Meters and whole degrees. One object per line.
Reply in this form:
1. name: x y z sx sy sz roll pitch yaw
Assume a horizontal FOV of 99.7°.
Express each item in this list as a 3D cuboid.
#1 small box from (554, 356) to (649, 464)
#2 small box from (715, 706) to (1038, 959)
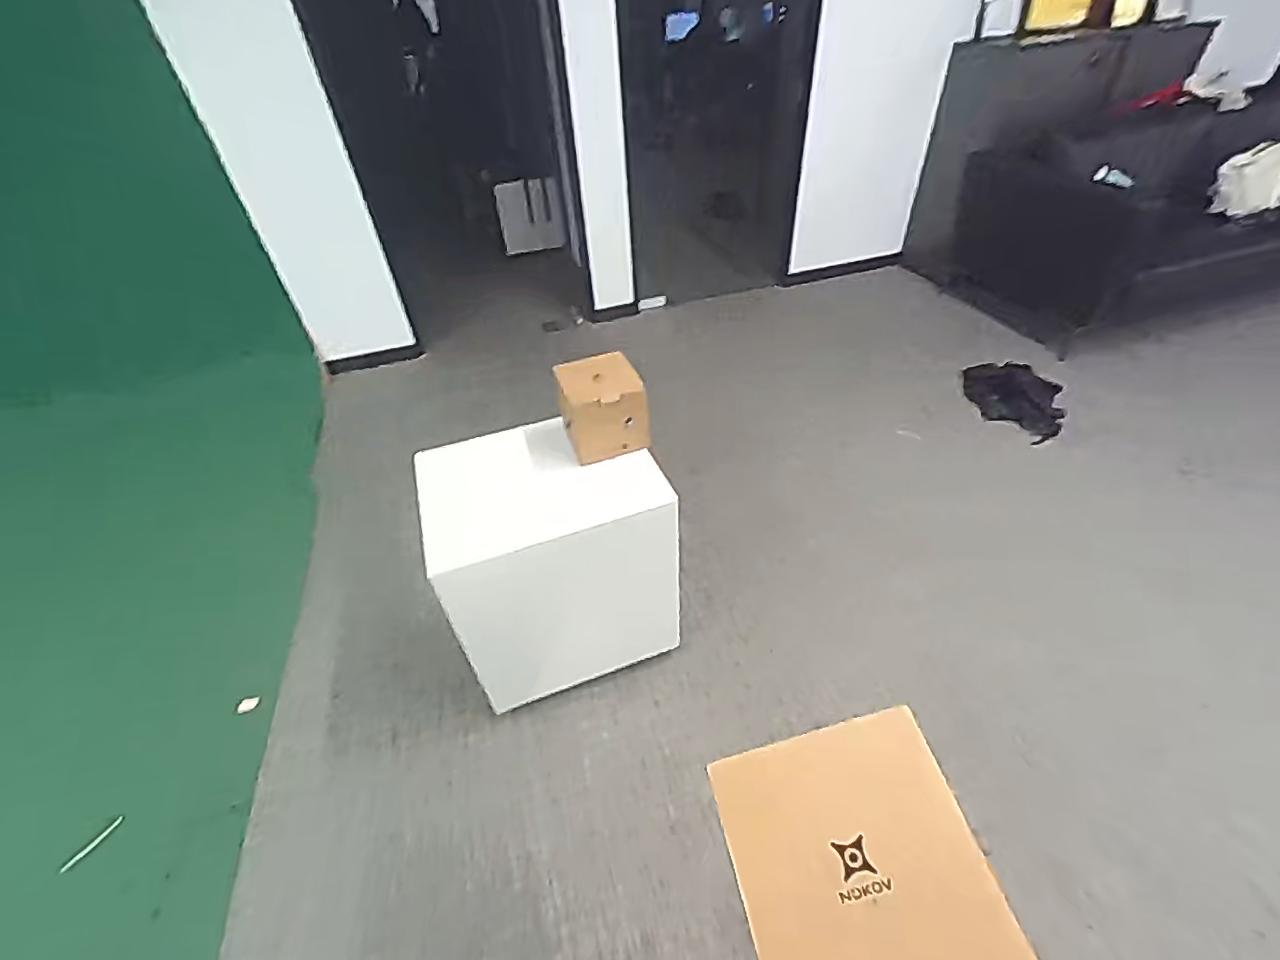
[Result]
1. small box: -0.084 -0.154 1.230 0.168 0.176 0.179 -16 42 -13
2. small box: 0.166 0.308 0.434 0.168 0.176 0.179 -16 53 2
